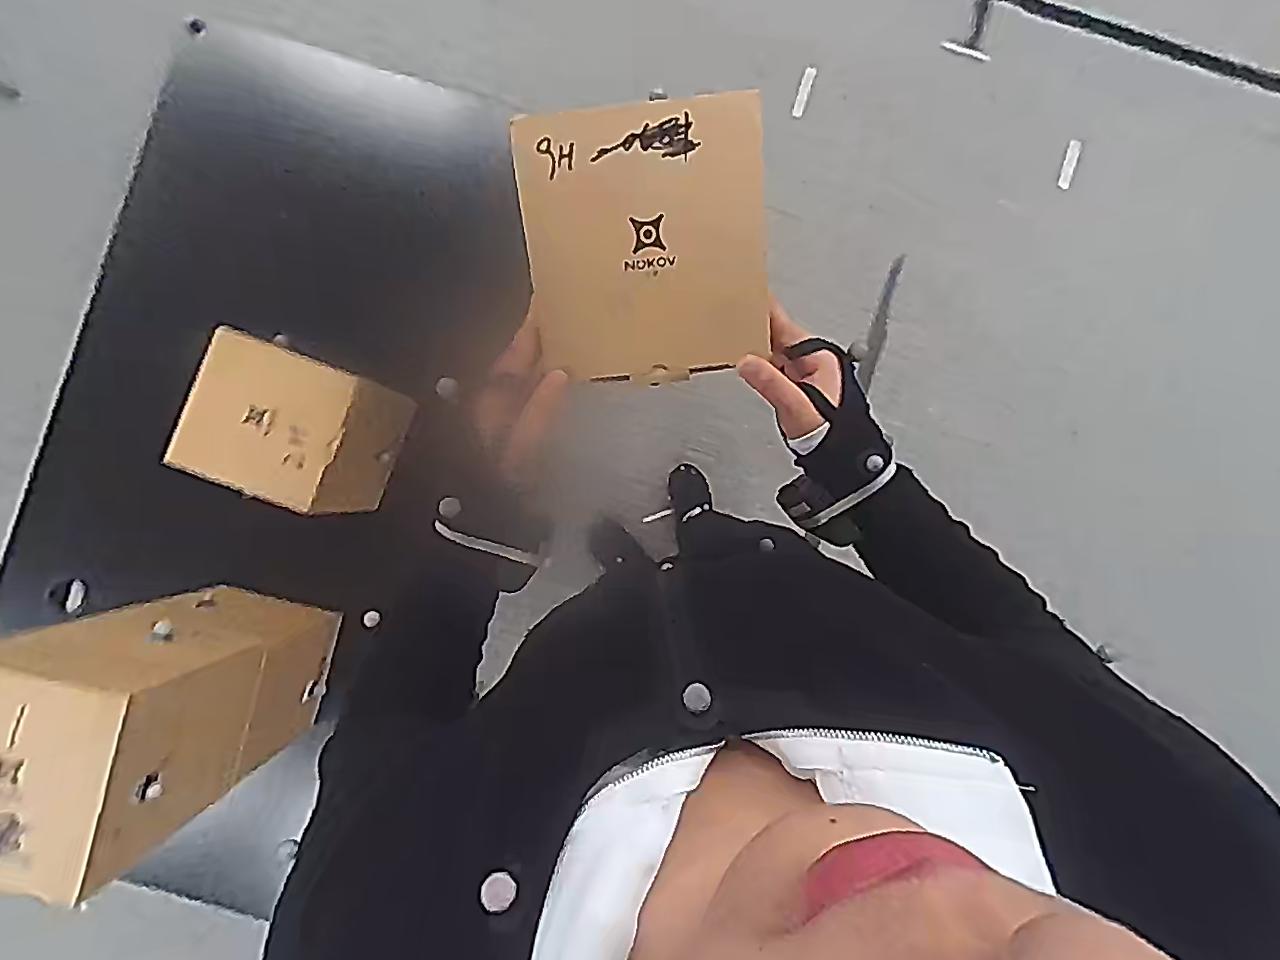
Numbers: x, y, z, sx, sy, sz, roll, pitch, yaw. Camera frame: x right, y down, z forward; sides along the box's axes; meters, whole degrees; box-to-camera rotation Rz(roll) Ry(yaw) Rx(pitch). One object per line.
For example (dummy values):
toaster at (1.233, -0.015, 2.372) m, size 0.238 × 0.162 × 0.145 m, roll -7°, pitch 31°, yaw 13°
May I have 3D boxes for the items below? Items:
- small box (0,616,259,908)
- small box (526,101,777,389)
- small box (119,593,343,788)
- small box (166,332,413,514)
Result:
small box at (-0.511, 0.248, 0.519) m, size 0.168 × 0.176 × 0.179 m, roll 12°, pitch 88°, yaw -1°
small box at (0.013, -0.181, 0.450) m, size 0.168 × 0.176 × 0.179 m, roll -5°, pitch 108°, yaw 1°
small box at (-0.518, 0.249, 0.684) m, size 0.179 × 0.176 × 0.168 m, roll 12°, pitch 89°, yaw -2°
small box at (-0.429, -0.062, 0.692) m, size 0.179 × 0.176 × 0.168 m, roll 20°, pitch 89°, yaw -1°
